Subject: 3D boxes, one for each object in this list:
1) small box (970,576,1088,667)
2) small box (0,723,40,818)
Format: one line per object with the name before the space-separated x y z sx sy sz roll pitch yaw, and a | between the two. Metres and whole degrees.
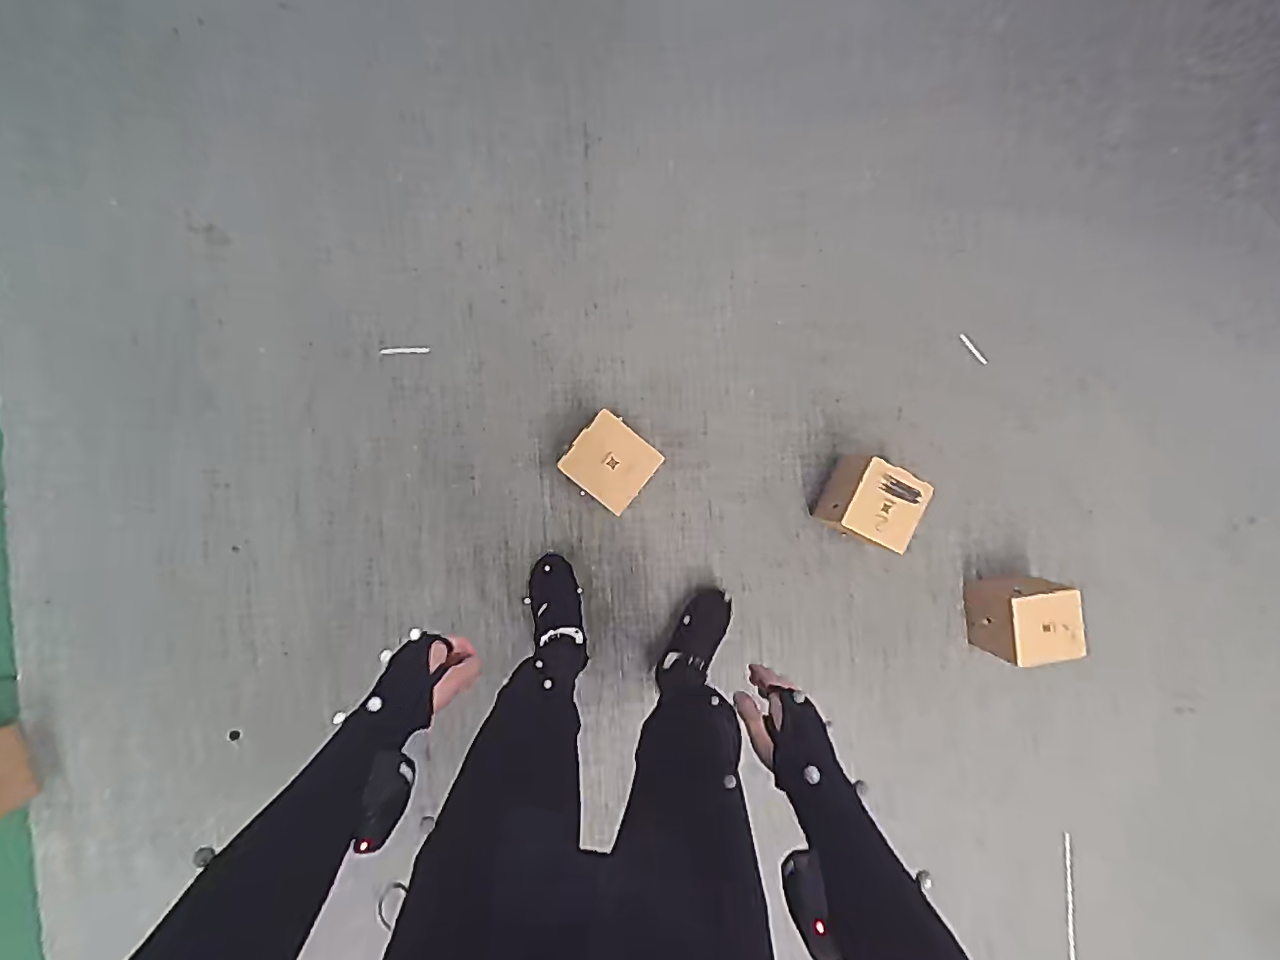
small box | 0.946 0.342 1.333 0.179 0.176 0.168 -7 93 -5
small box | -1.431 0.645 1.127 0.168 0.176 0.179 -14 92 -5
